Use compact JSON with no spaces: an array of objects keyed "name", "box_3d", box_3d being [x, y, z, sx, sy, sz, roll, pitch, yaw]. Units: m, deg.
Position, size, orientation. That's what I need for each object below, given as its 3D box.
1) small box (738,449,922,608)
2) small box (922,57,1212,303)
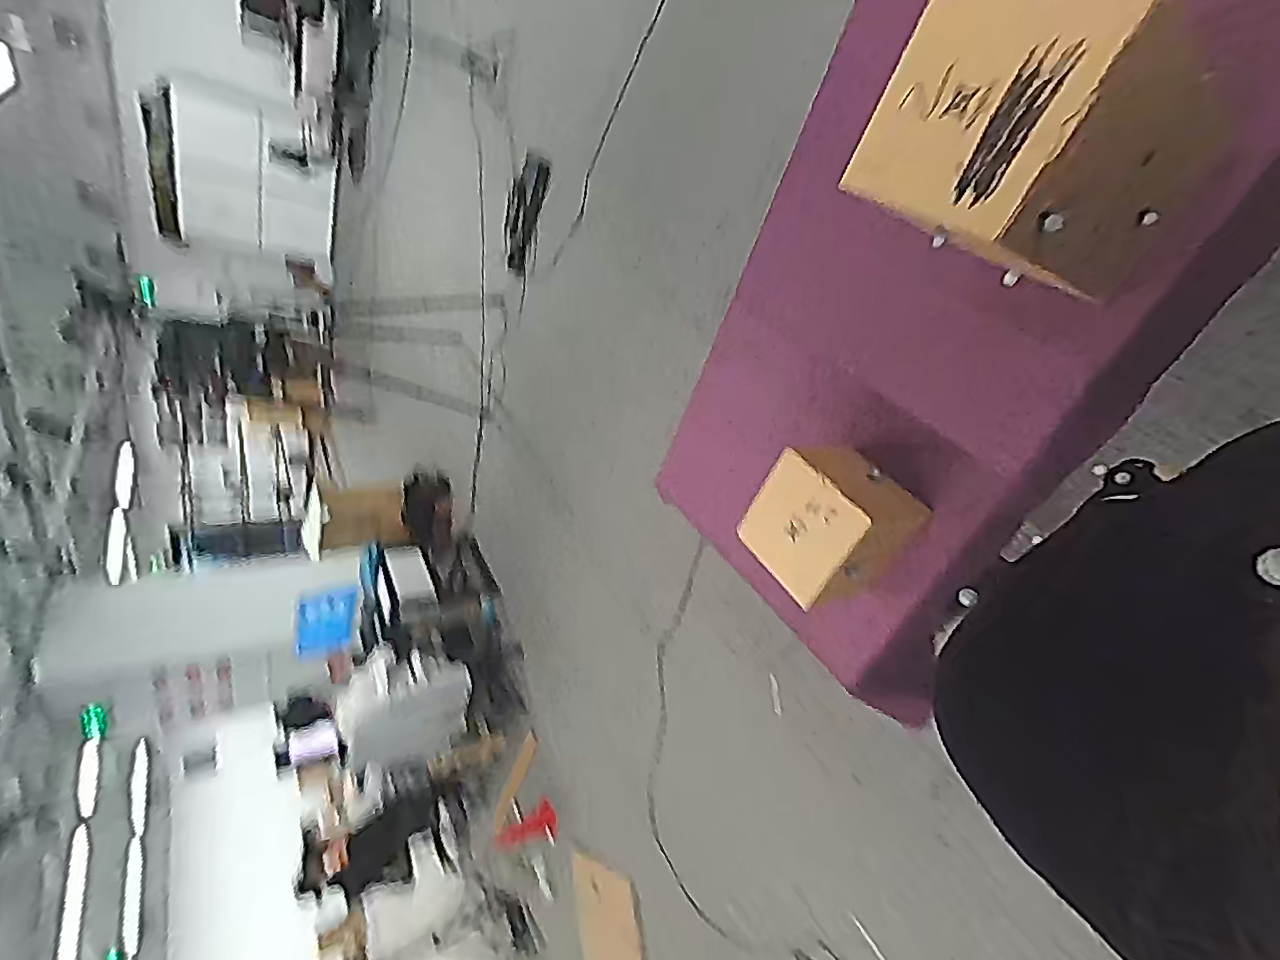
[{"name":"small box","box_3d":[0.291,0.069,0.834,0.168,0.176,0.179,51,129,38]},{"name":"small box","box_3d":[0.464,-0.317,0.594,0.168,0.176,0.179,51,130,39]}]
